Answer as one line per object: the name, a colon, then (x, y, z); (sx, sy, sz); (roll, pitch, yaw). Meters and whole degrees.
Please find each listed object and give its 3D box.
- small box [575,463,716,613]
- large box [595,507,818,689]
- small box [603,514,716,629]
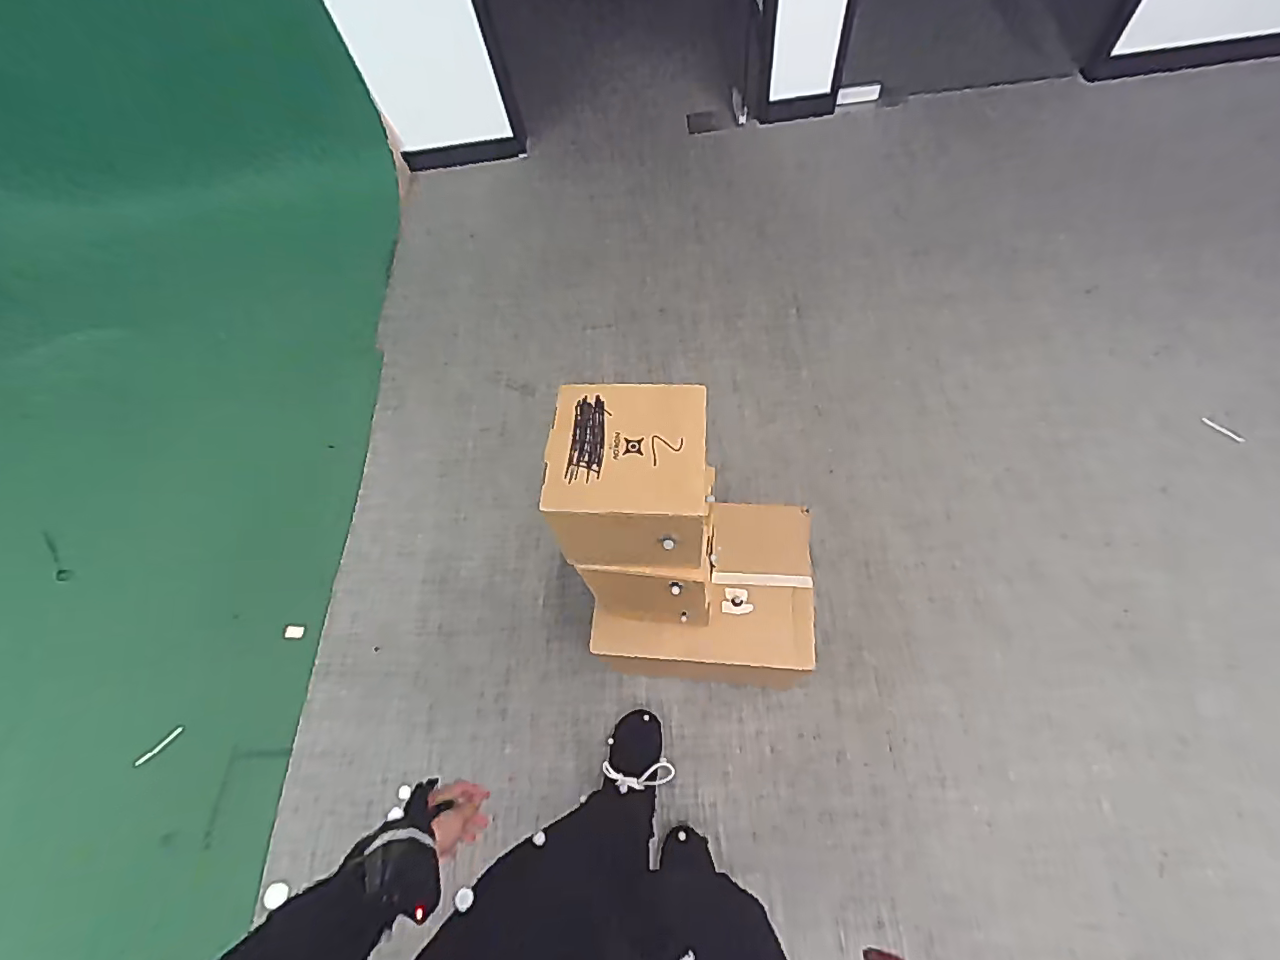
small box: (0.017, 0.091, 0.799); (0.179, 0.176, 0.168); (4, 62, 7)
large box: (0.133, 0.258, 1.156); (0.408, 0.320, 0.320); (2, 64, 6)
small box: (0.040, 0.159, 0.945); (0.179, 0.176, 0.168); (1, 62, 8)
